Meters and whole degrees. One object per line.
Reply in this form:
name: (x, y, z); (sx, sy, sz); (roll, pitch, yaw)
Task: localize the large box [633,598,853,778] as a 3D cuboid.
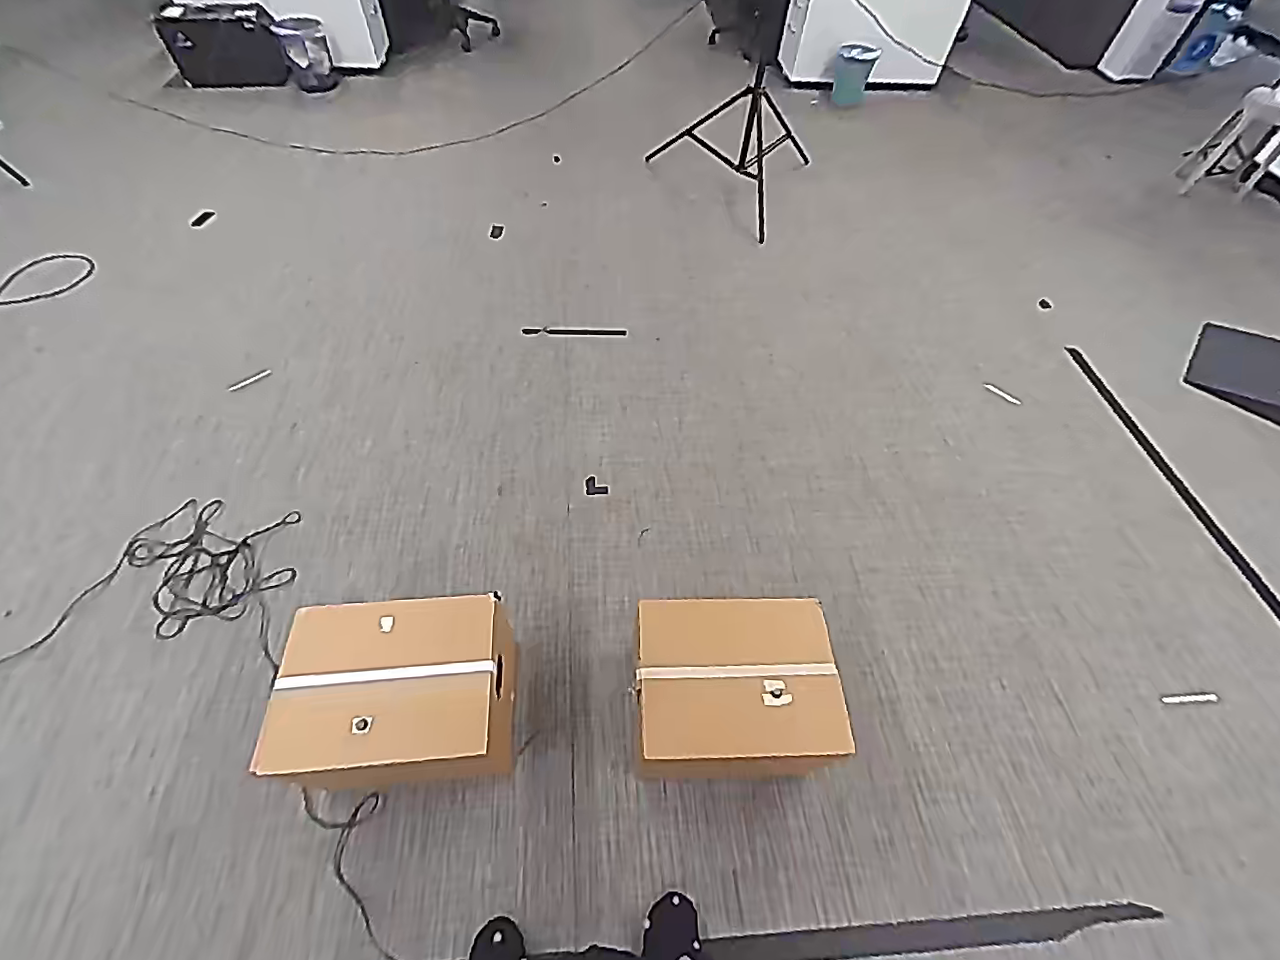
large box: (0.197, 0.475, 1.224); (0.408, 0.320, 0.320); (1, 55, -4)
